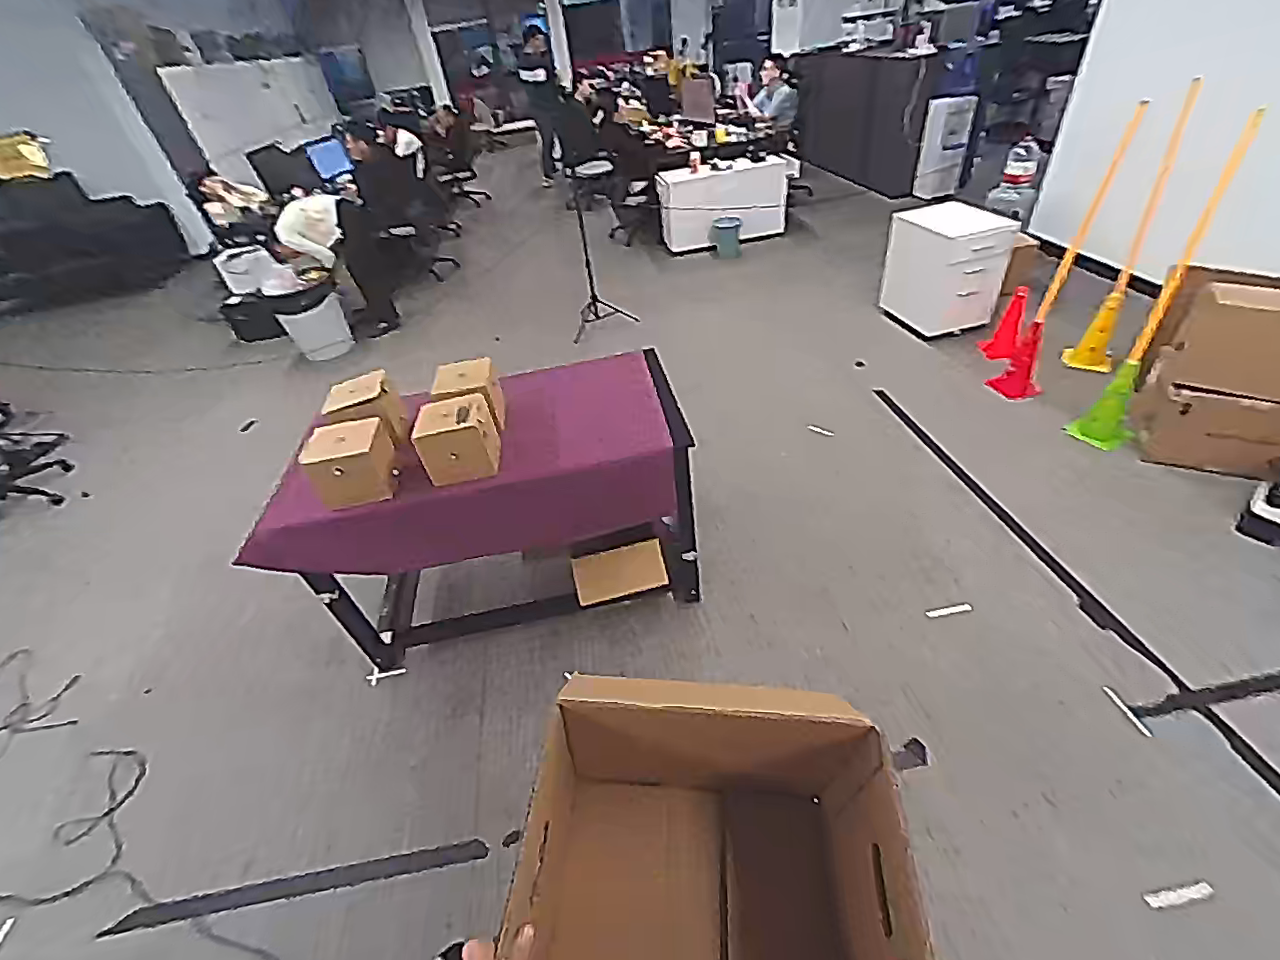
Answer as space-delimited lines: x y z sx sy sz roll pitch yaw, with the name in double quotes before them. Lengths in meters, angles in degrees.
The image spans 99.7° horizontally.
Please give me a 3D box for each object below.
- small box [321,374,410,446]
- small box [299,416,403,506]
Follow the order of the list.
"small box" -0.828 -0.198 1.650 0.179 0.176 0.168 -12 41 -5
"small box" -0.774 -0.048 1.467 0.179 0.176 0.168 -11 41 -4
